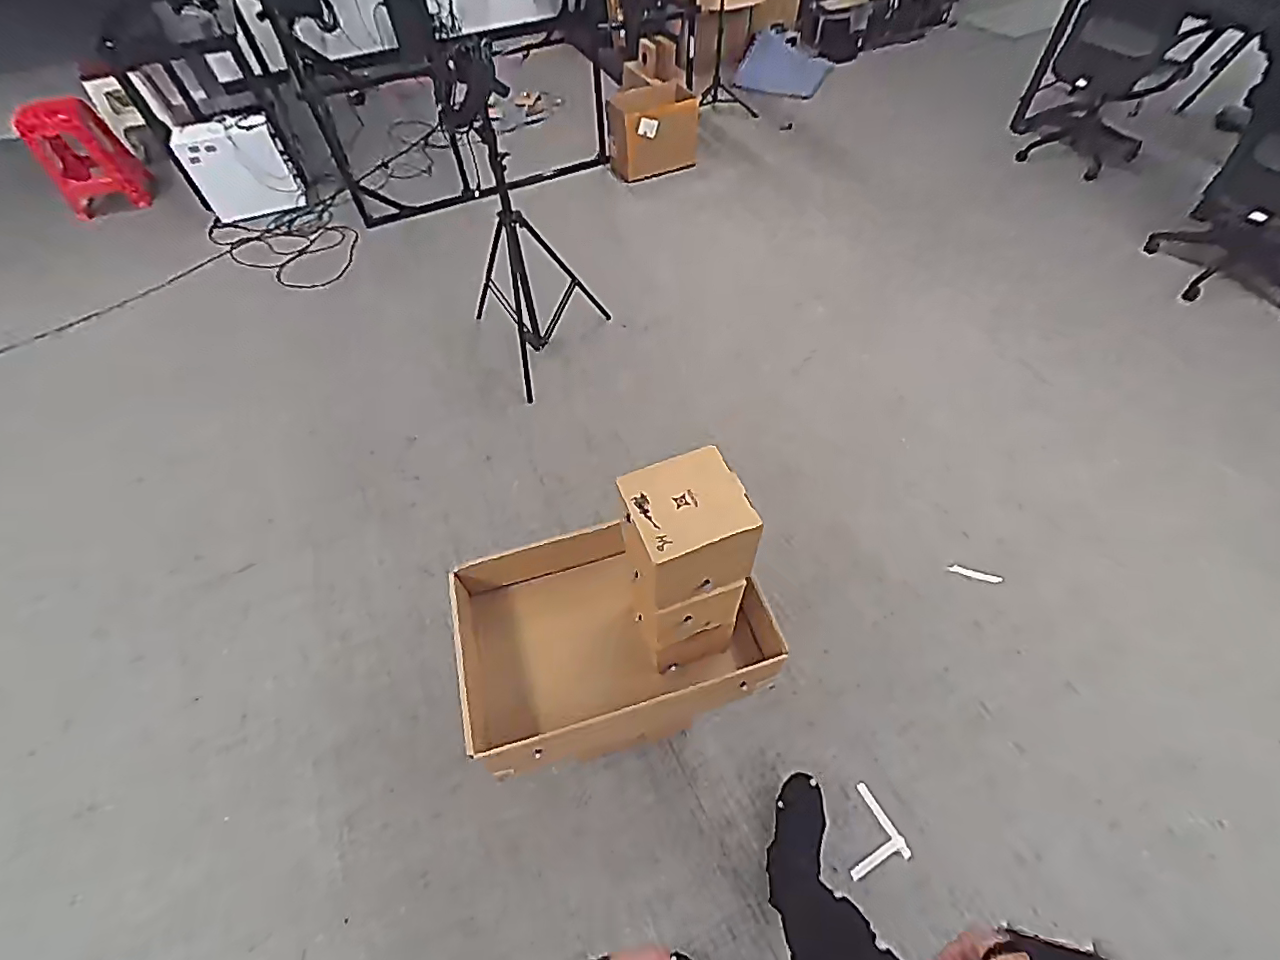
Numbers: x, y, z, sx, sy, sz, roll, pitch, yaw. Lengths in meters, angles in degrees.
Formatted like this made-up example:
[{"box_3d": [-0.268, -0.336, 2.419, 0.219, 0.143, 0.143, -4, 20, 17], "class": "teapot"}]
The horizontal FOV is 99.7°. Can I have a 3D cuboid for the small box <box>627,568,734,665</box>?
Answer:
[{"box_3d": [0.081, 0.267, 1.129, 0.168, 0.176, 0.179, -18, 55, -10], "class": "small box"}]

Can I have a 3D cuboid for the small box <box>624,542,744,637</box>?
[{"box_3d": [0.076, 0.172, 0.997, 0.168, 0.176, 0.179, -17, 55, -10], "class": "small box"}]

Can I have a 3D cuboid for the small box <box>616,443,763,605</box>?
[{"box_3d": [0.071, 0.073, 0.866, 0.179, 0.176, 0.168, -18, 55, -11], "class": "small box"}]
